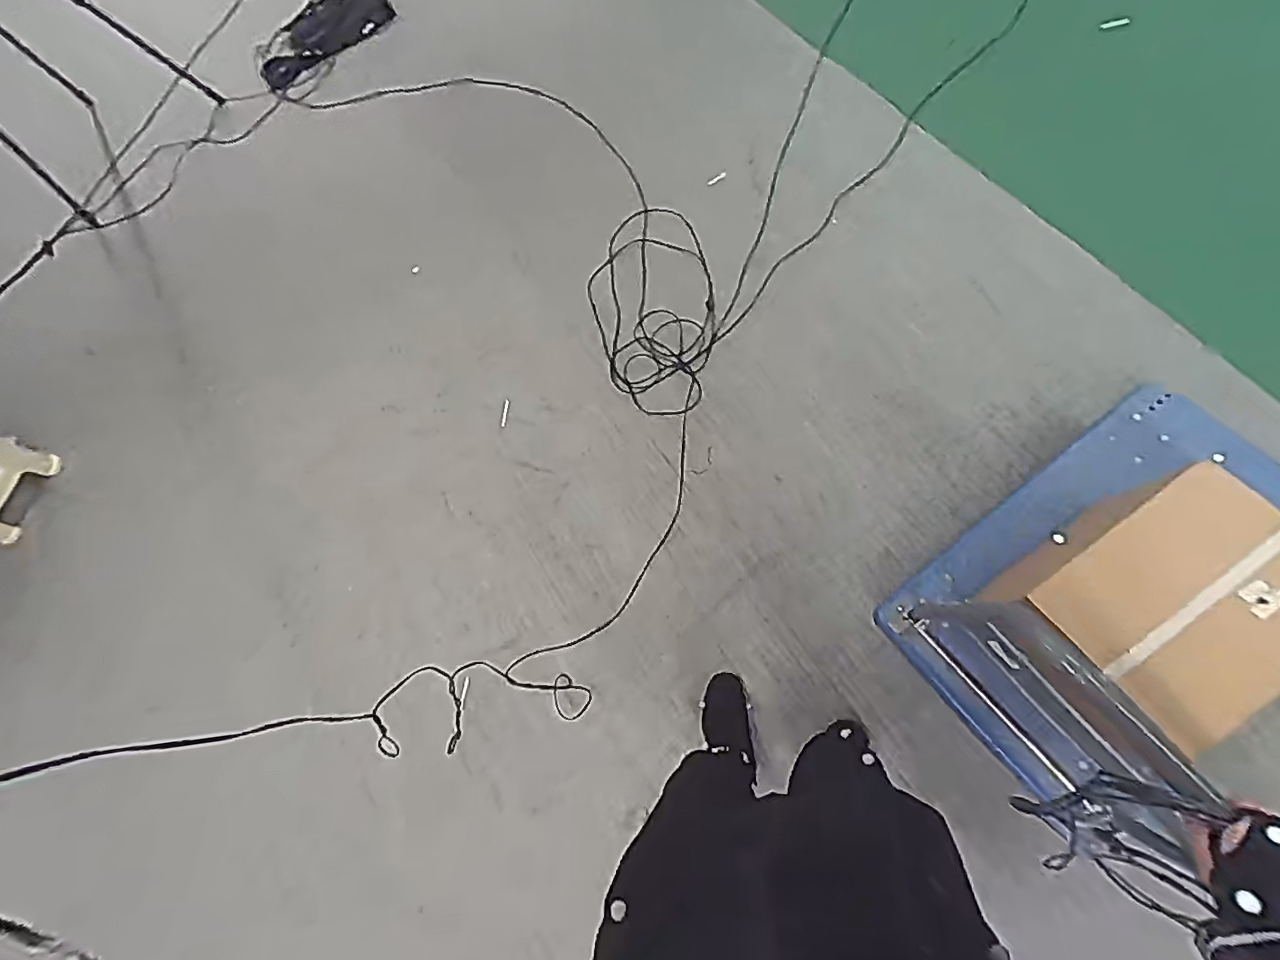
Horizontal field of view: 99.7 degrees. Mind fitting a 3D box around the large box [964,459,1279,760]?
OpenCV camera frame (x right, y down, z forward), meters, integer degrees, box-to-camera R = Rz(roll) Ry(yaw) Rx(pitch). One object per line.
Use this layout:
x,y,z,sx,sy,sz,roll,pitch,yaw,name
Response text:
0.923,0.239,1.010,0.408,0.320,0.320,-37,70,-2,large box
